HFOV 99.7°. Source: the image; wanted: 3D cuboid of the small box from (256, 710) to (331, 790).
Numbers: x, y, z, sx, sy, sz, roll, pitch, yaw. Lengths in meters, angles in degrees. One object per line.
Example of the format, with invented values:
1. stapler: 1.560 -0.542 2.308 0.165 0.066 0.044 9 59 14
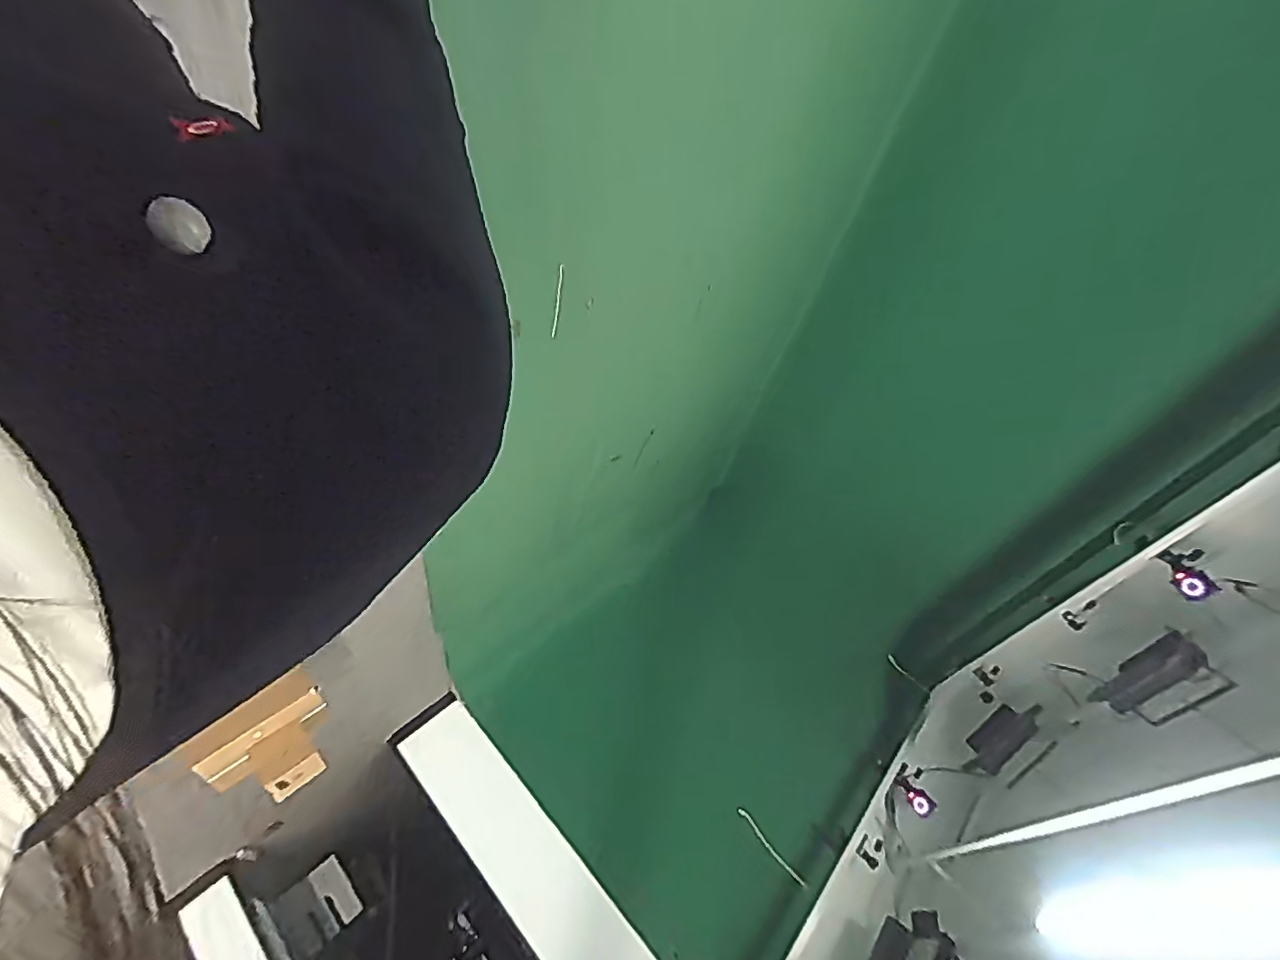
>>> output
1. small box: -1.303 1.008 2.024 0.179 0.176 0.168 -32 147 -35
